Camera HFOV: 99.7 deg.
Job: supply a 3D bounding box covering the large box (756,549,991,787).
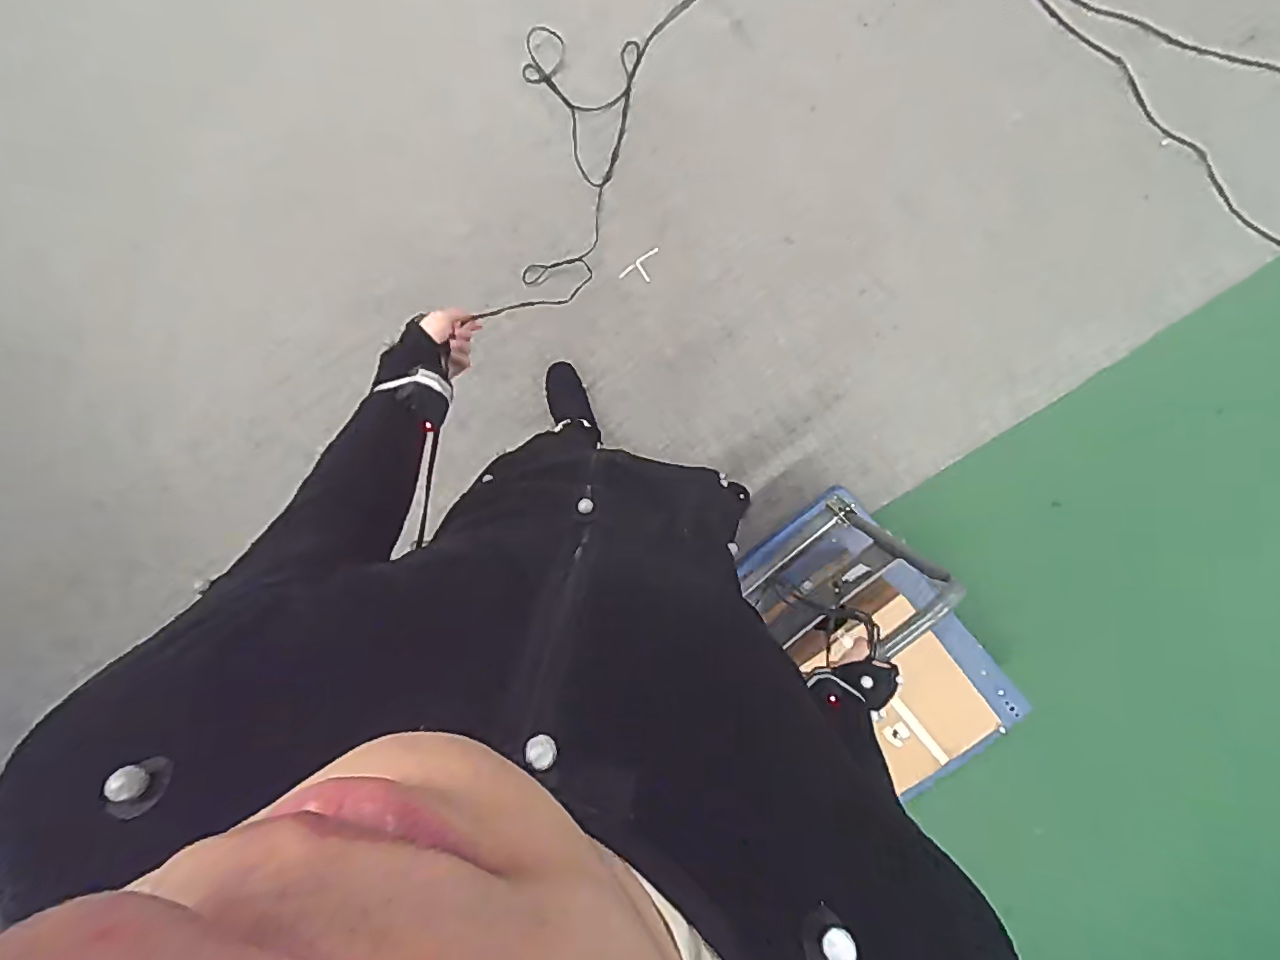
[{"bbox_3d":[0.560,0.452,1.368,0.320,0.320,0.408,-38,99,7],"label":"large box"}]
